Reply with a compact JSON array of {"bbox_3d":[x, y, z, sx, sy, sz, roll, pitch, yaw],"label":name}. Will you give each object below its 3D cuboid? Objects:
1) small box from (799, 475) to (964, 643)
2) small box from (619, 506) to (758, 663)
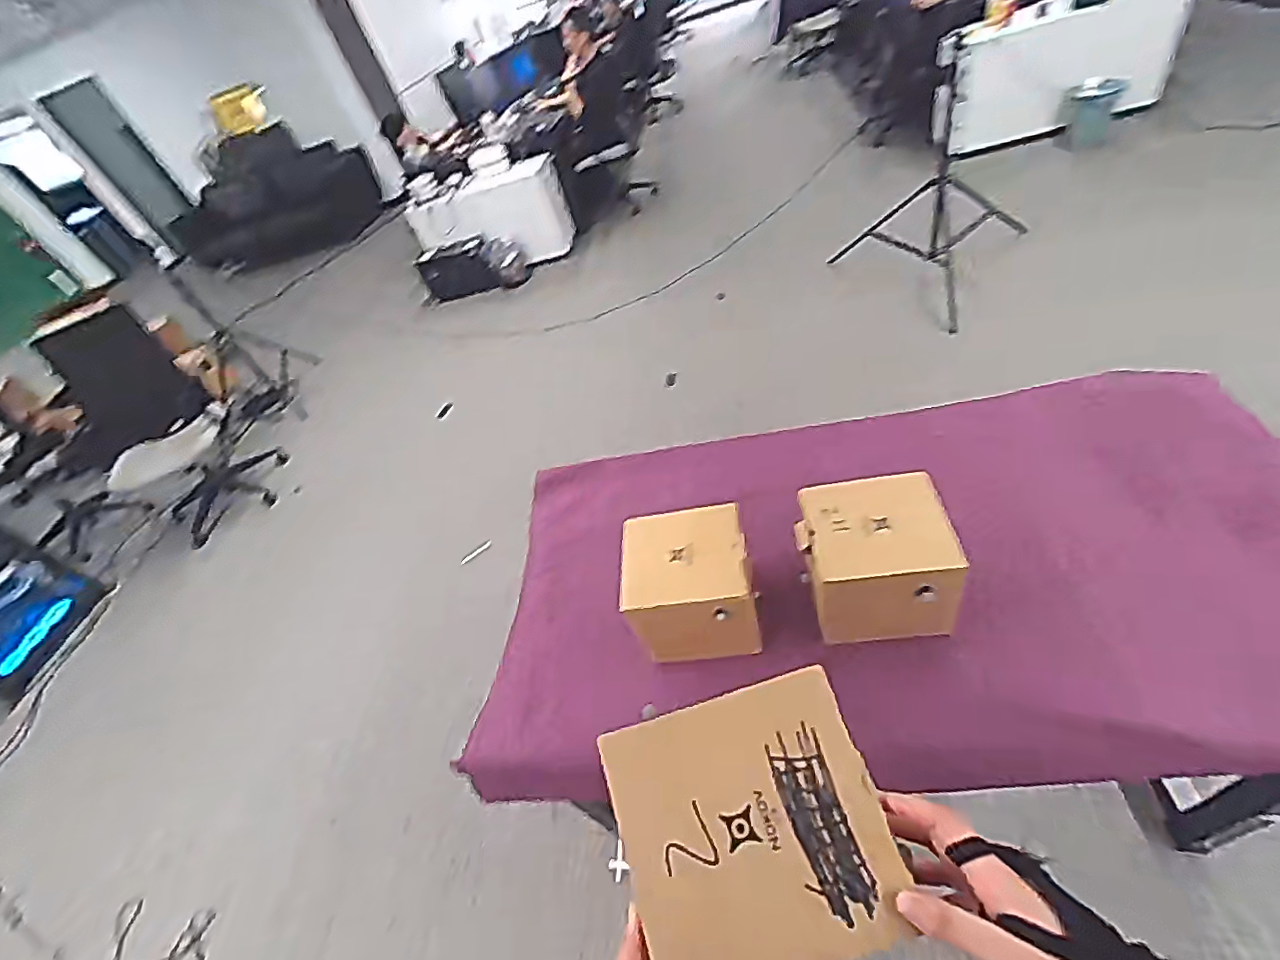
[{"bbox_3d":[0.332,0.118,0.780,0.179,0.176,0.168,-9,44,12],"label":"small box"},{"bbox_3d":[0.077,0.167,0.835,0.179,0.176,0.168,-10,44,11],"label":"small box"}]
